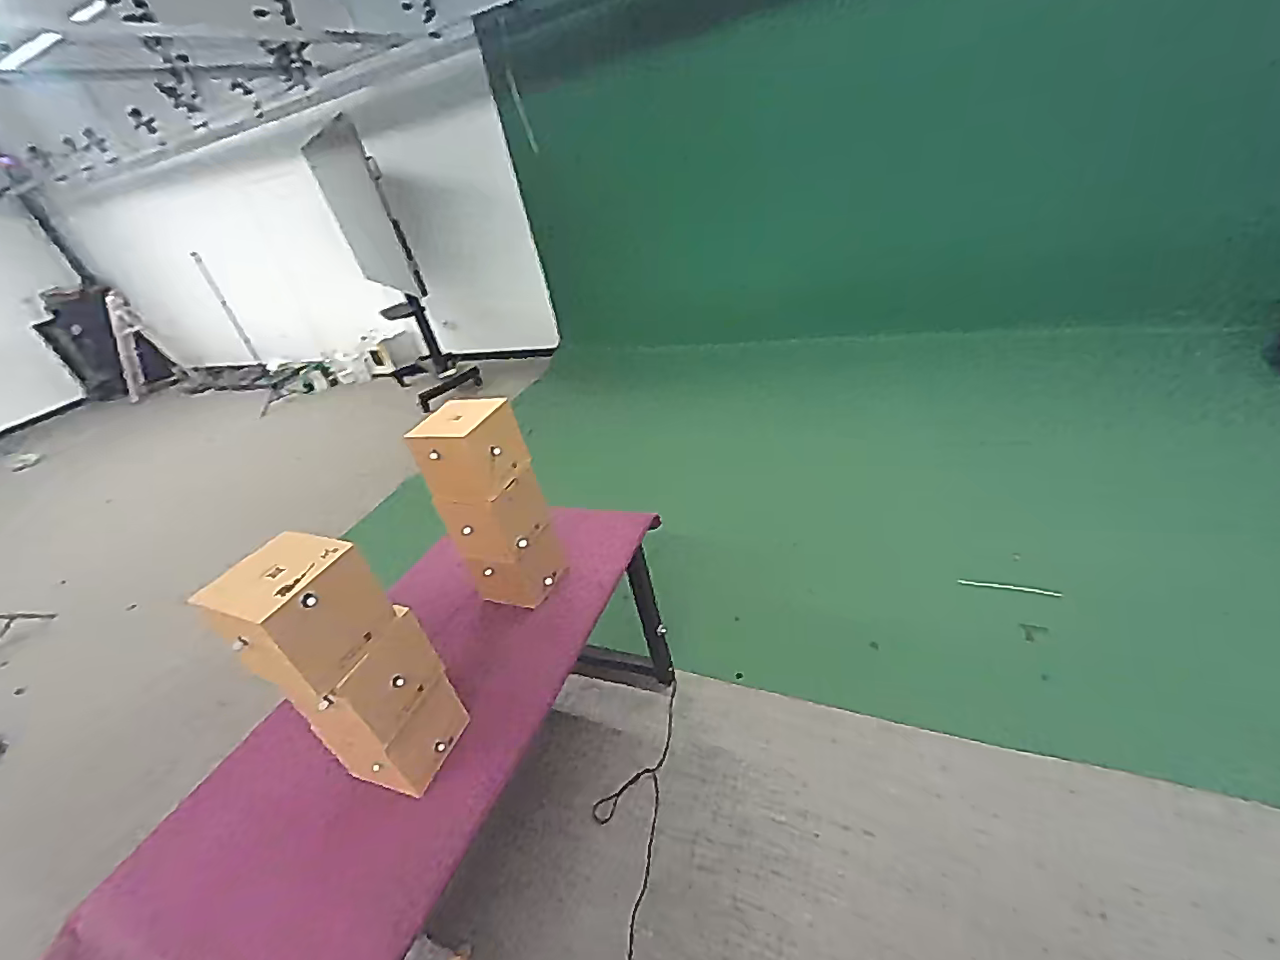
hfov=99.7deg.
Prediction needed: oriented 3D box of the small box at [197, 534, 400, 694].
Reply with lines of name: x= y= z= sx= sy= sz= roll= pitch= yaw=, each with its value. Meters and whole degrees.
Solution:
small box: x=-0.521 y=0.206 z=0.847 sx=0.179 sy=0.176 sz=0.168 roll=4 pitch=37 yaw=26

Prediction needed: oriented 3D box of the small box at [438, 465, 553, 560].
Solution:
small box: x=-0.336 y=0.074 z=1.293 sx=0.179 sy=0.176 sz=0.168 roll=2 pitch=37 yaw=27

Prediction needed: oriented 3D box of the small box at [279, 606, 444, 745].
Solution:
small box: x=-0.479 y=0.332 z=0.945 sx=0.179 sy=0.176 sz=0.168 roll=2 pitch=35 yaw=24

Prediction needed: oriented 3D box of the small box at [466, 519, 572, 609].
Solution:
small box: x=-0.302 y=0.207 z=1.382 sx=0.179 sy=0.176 sz=0.168 roll=4 pitch=38 yaw=27

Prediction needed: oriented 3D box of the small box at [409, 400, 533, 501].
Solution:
small box: x=-0.368 y=-0.065 z=1.215 sx=0.179 sy=0.176 sz=0.168 roll=1 pitch=37 yaw=26
